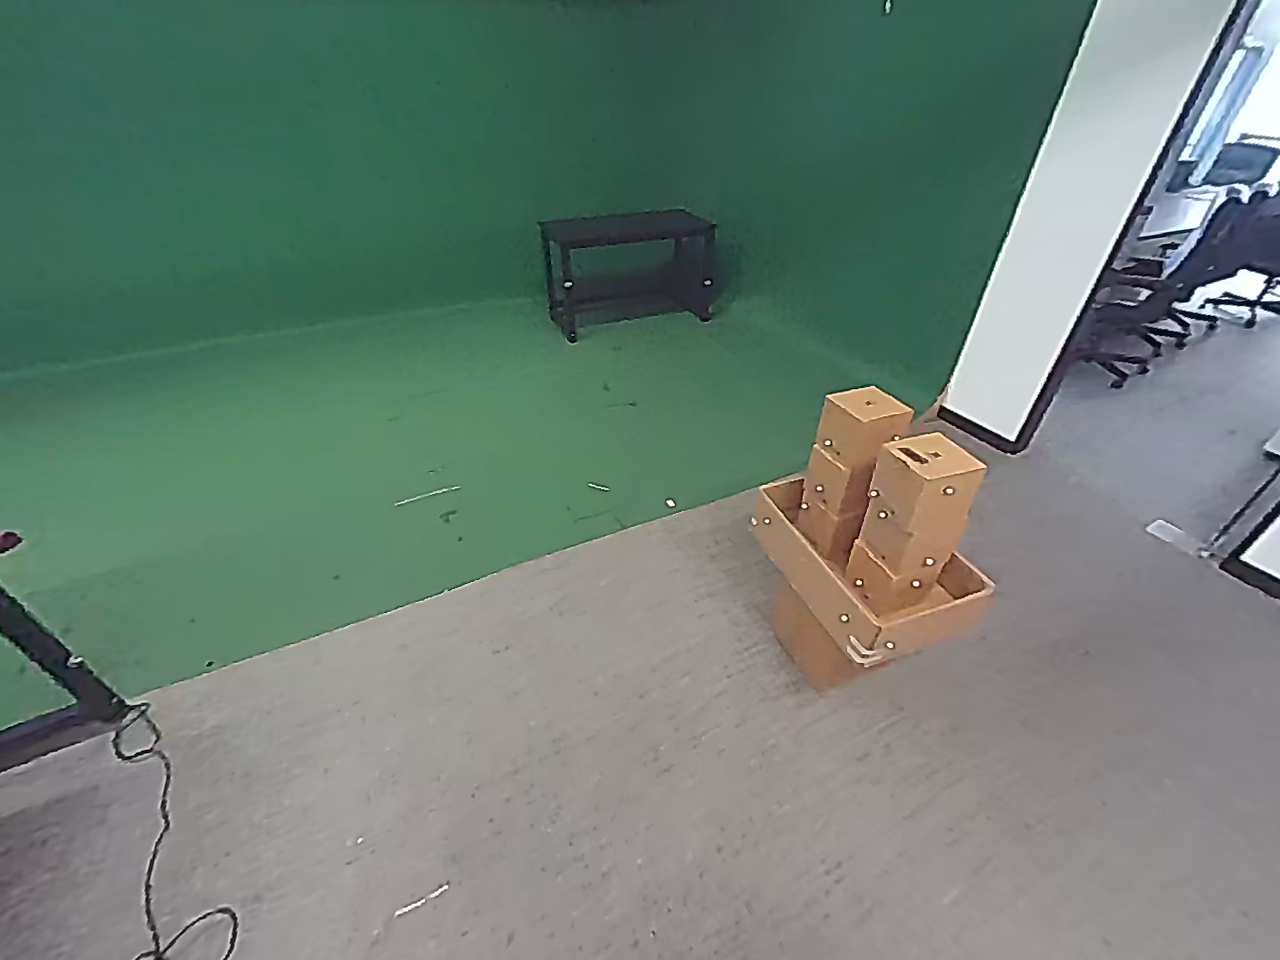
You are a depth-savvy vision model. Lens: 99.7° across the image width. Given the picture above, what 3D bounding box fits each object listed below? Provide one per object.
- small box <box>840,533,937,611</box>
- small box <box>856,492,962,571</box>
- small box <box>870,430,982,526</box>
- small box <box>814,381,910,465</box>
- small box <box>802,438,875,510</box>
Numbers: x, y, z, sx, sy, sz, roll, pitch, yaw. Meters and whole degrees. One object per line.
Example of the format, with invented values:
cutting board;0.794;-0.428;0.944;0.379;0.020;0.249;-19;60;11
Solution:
small box;0.718;0.254;1.582;0.179;0.176;0.168;-14;41;-16
small box;0.728;0.123;1.483;0.179;0.176;0.168;-12;40;-15
small box;0.712;-0.003;1.375;0.179;0.176;0.168;-11;40;-13
small box;0.638;-0.165;1.575;0.179;0.176;0.168;-13;40;-18
small box;0.628;-0.032;1.669;0.179;0.176;0.168;-15;41;-19
